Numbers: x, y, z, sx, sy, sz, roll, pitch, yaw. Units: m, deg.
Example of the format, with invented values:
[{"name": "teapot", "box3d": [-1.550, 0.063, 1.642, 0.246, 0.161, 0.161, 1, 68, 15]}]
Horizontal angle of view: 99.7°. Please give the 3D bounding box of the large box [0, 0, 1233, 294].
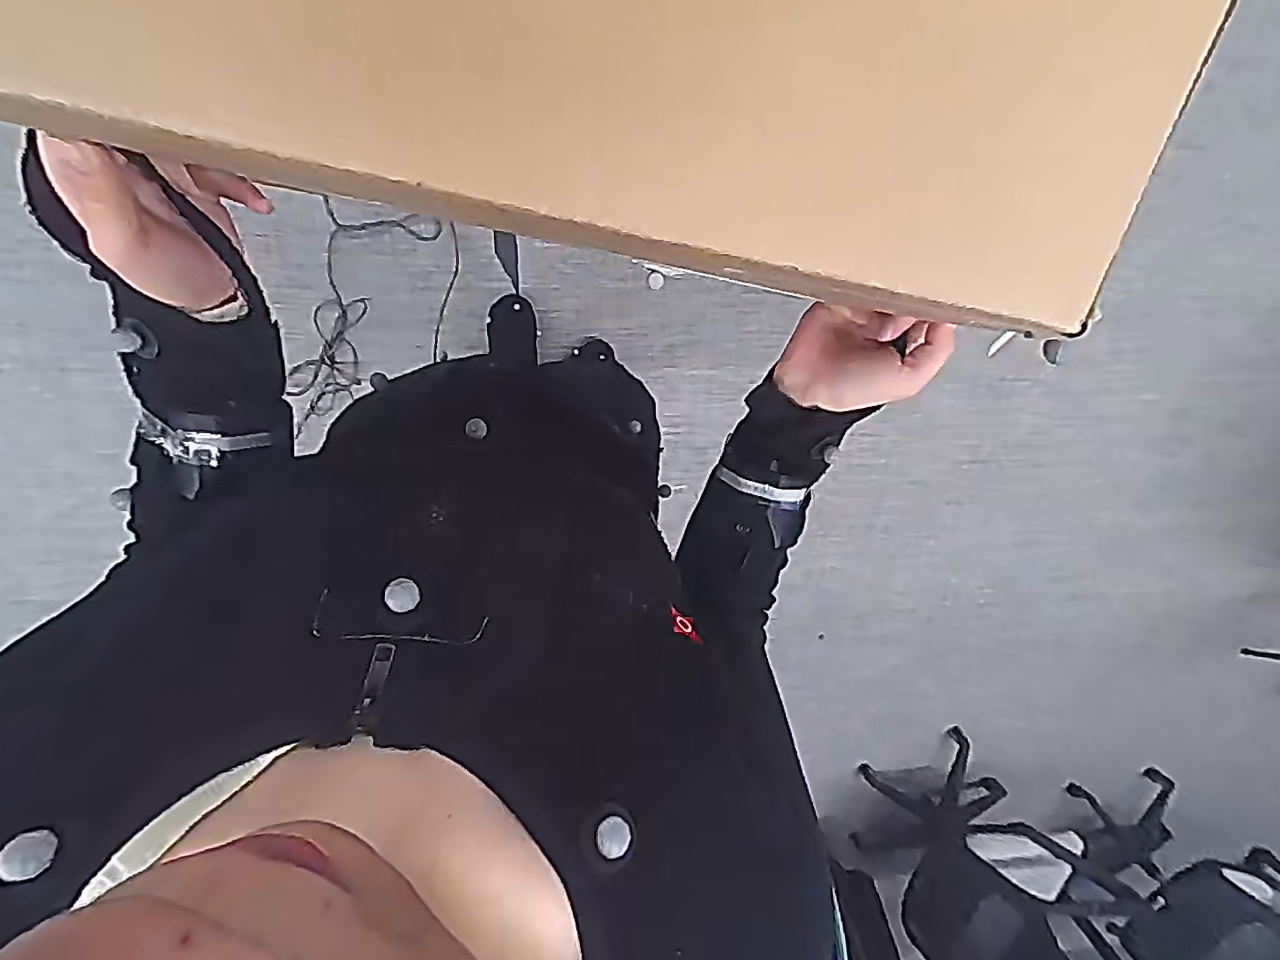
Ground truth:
[{"name": "large box", "box3d": [-0.017, -0.287, 0.244, 0.408, 0.320, 0.320, 6, 113, -12]}]
